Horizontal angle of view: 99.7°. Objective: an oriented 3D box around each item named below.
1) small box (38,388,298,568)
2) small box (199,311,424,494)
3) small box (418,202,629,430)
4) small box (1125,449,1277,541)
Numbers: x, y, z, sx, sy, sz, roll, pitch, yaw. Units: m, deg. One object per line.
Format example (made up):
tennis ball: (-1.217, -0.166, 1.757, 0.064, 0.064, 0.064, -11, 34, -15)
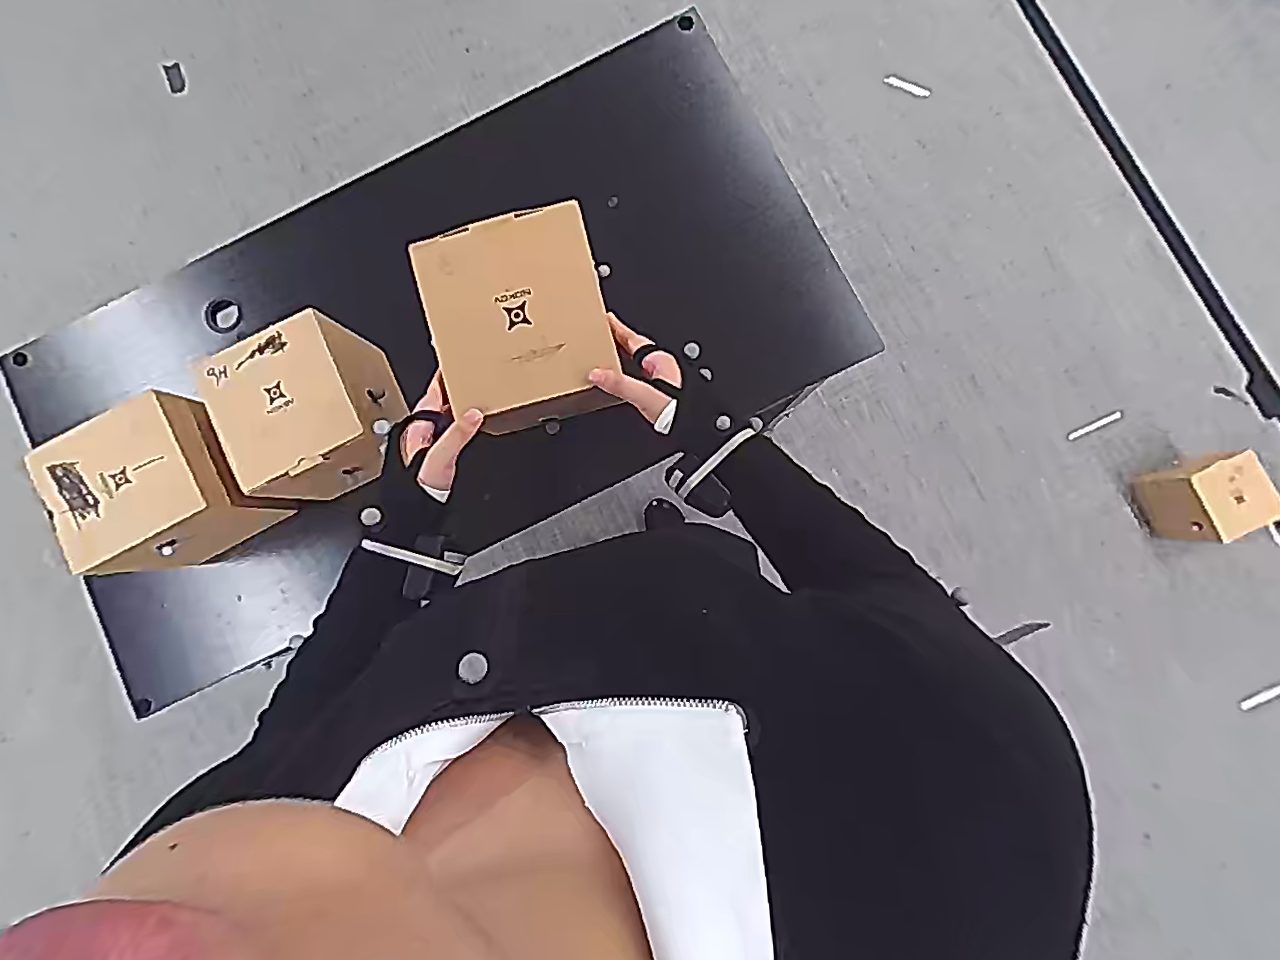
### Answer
small box: (-0.618, 0.004, 0.731, 0.179, 0.176, 0.168, -28, 85, -1)
small box: (-0.425, -0.091, 0.731, 0.168, 0.176, 0.179, -26, 85, 0)
small box: (-0.111, -0.161, 0.591, 0.168, 0.176, 0.179, -15, 92, 1)
small box: (1.399, 0.040, 1.363, 0.168, 0.176, 0.179, -25, 85, 1)
